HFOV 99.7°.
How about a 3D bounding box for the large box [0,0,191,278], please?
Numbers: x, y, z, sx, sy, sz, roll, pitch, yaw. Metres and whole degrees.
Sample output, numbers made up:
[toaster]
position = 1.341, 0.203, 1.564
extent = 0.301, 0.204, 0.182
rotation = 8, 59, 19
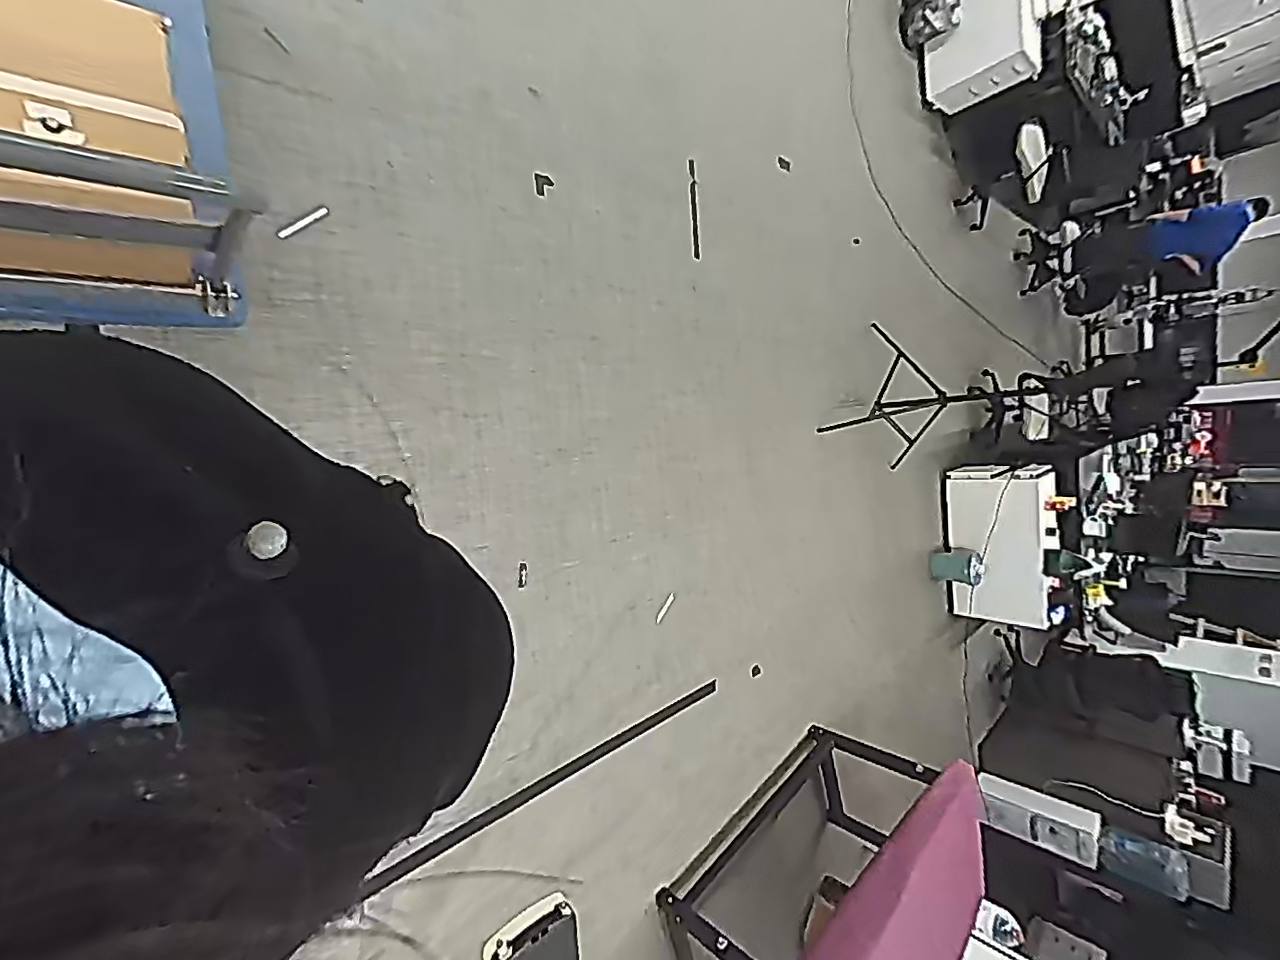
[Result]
[large box]
position = -0.954, -0.514, 0.800
extent = 0.408, 0.320, 0.320
rotation = -10, 97, -42
